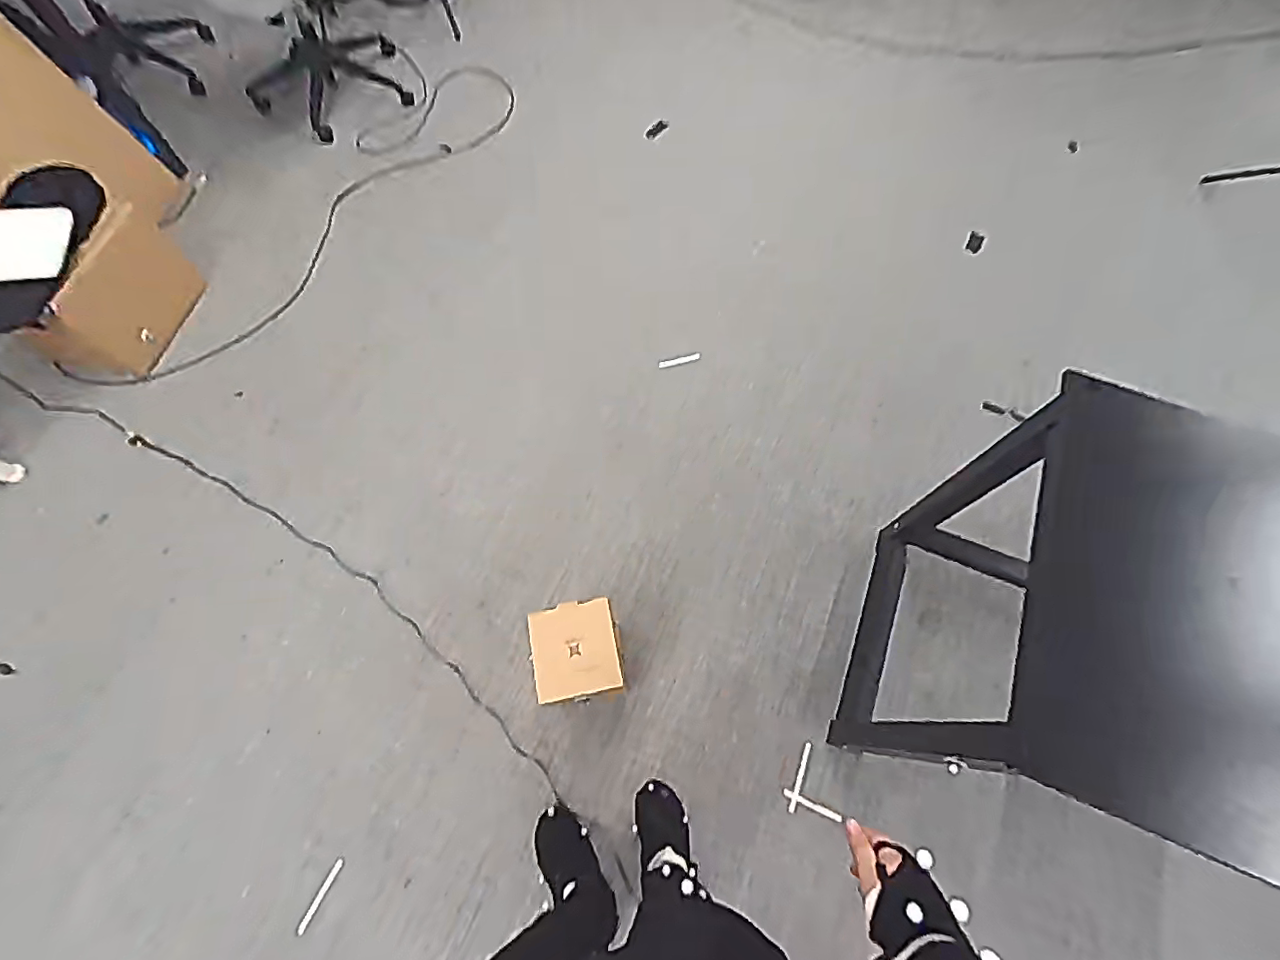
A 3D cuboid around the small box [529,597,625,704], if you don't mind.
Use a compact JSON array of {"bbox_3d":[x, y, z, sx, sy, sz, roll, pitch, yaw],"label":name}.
[{"bbox_3d":[-0.128,0.362,1.137,0.168,0.176,0.179,-12,68,-5],"label":"small box"}]
